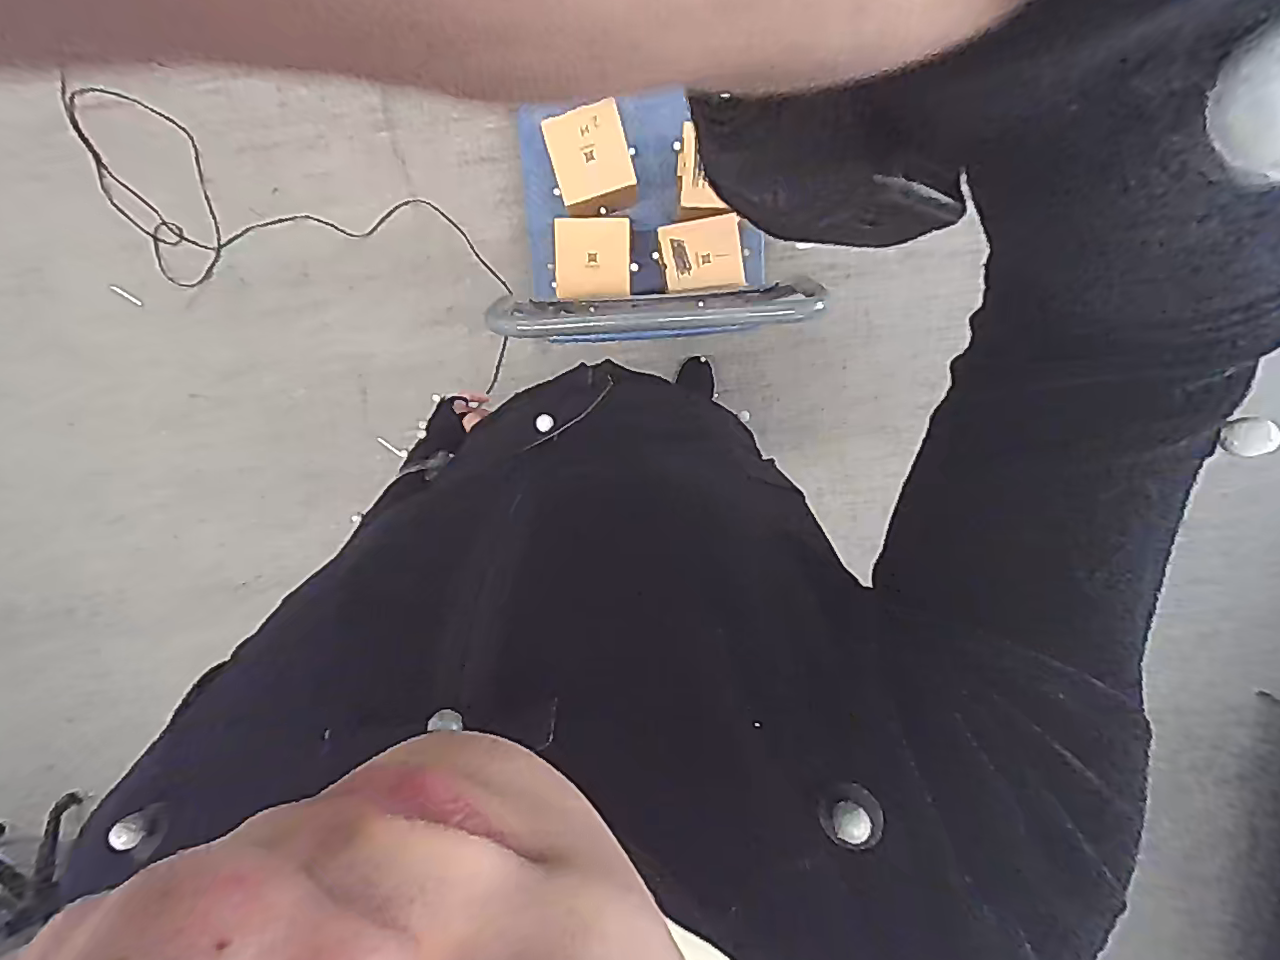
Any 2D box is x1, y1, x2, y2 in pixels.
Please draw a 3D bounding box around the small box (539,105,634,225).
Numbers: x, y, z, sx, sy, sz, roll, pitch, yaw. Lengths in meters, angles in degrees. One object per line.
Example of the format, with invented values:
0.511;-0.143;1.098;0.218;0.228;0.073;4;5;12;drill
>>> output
-0.113;-0.699;1.228;0.168;0.176;0.179;-16;101;3;small box
